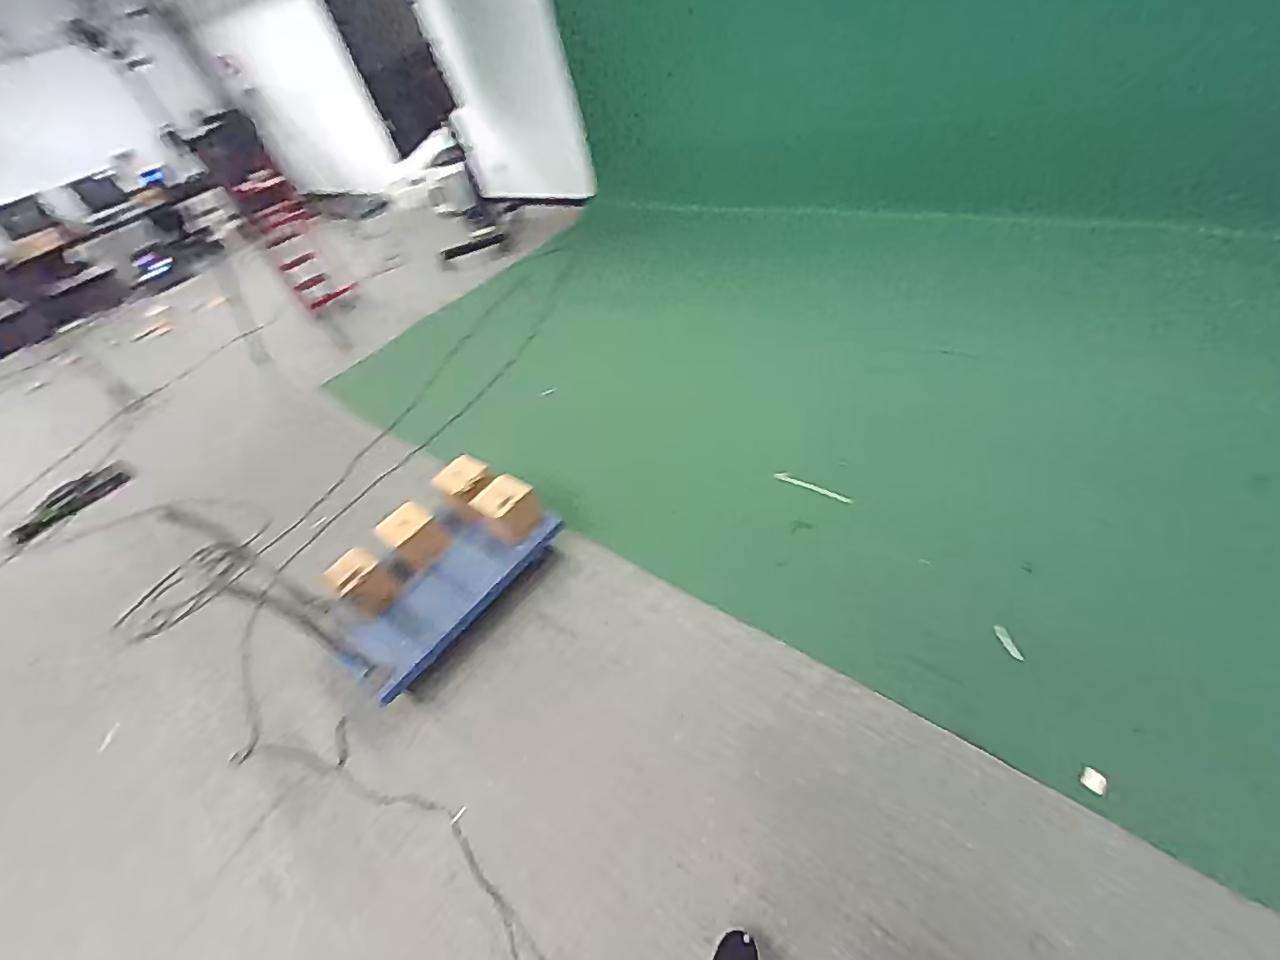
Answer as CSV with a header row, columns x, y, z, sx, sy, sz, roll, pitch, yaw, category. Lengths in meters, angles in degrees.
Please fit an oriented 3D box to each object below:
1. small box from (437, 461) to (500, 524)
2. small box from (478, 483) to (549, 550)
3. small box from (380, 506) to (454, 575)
x,y,z,sx,sy,sz,roll,pitch,yaw,category
-0.689,0.054,2.221,0.179,0.176,0.168,23,58,35,small box
-0.480,0.145,2.083,0.179,0.176,0.168,22,55,36,small box
-0.859,0.238,2.094,0.179,0.176,0.168,24,57,34,small box
